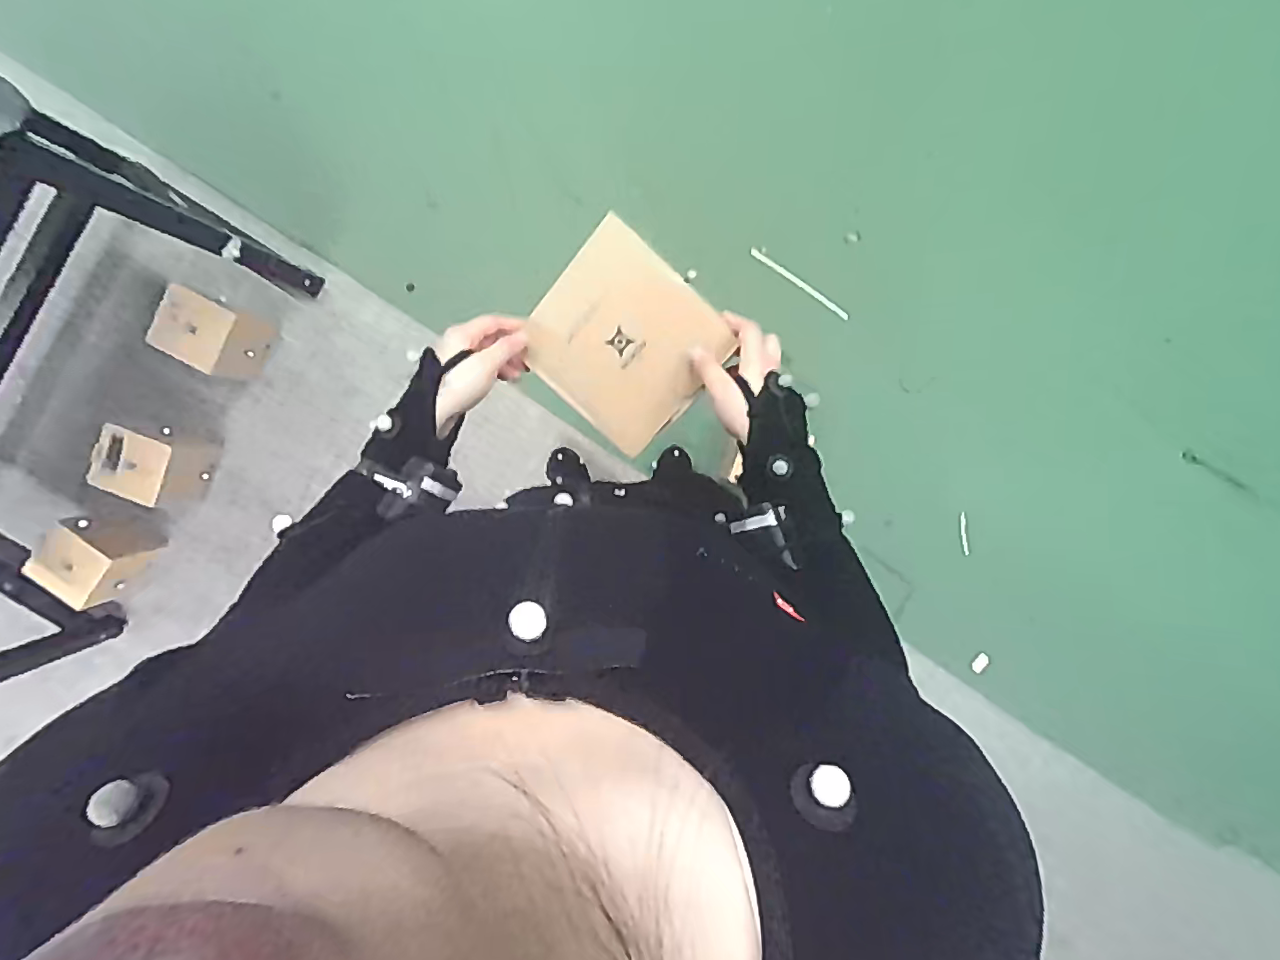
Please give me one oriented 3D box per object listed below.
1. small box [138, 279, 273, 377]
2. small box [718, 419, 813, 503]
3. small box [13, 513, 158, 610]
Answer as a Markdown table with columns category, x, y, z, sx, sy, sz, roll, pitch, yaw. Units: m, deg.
| category | x | y | z | sx | sy | sz | roll | pitch | yaw |
| --- | --- | --- | --- | --- | --- | --- | --- | --- | --- |
| small box | -1.082 | -0.373 | 1.364 | 0.179 | 0.176 | 0.168 | 28 | 94 | -2 |
| small box | 0.313 | -0.052 | 1.395 | 0.179 | 0.176 | 0.168 | 17 | 95 | -2 |
| small box | -1.439 | 0.204 | 1.418 | 0.179 | 0.176 | 0.168 | 37 | 94 | -3 |
